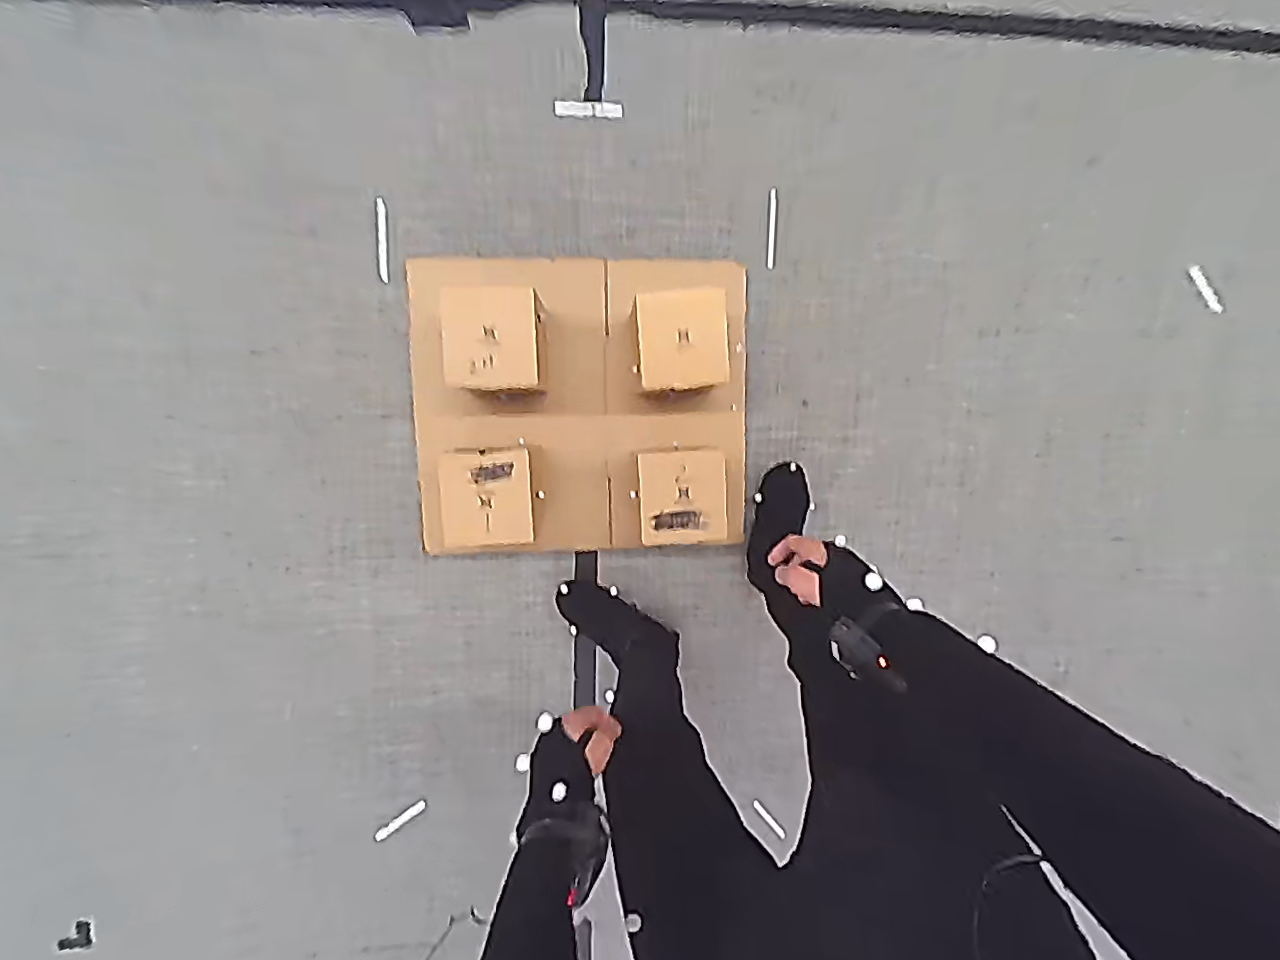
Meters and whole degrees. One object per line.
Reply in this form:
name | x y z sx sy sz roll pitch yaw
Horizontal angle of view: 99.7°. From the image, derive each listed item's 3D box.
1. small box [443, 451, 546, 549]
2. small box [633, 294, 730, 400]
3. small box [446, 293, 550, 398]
small box | -0.281 0.032 1.074 0.168 0.176 0.179 -2 97 -3
small box | 0.076 -0.257 1.072 0.168 0.176 0.179 -5 96 -3
small box | -0.267 -0.252 1.045 0.168 0.176 0.179 -2 96 -3
